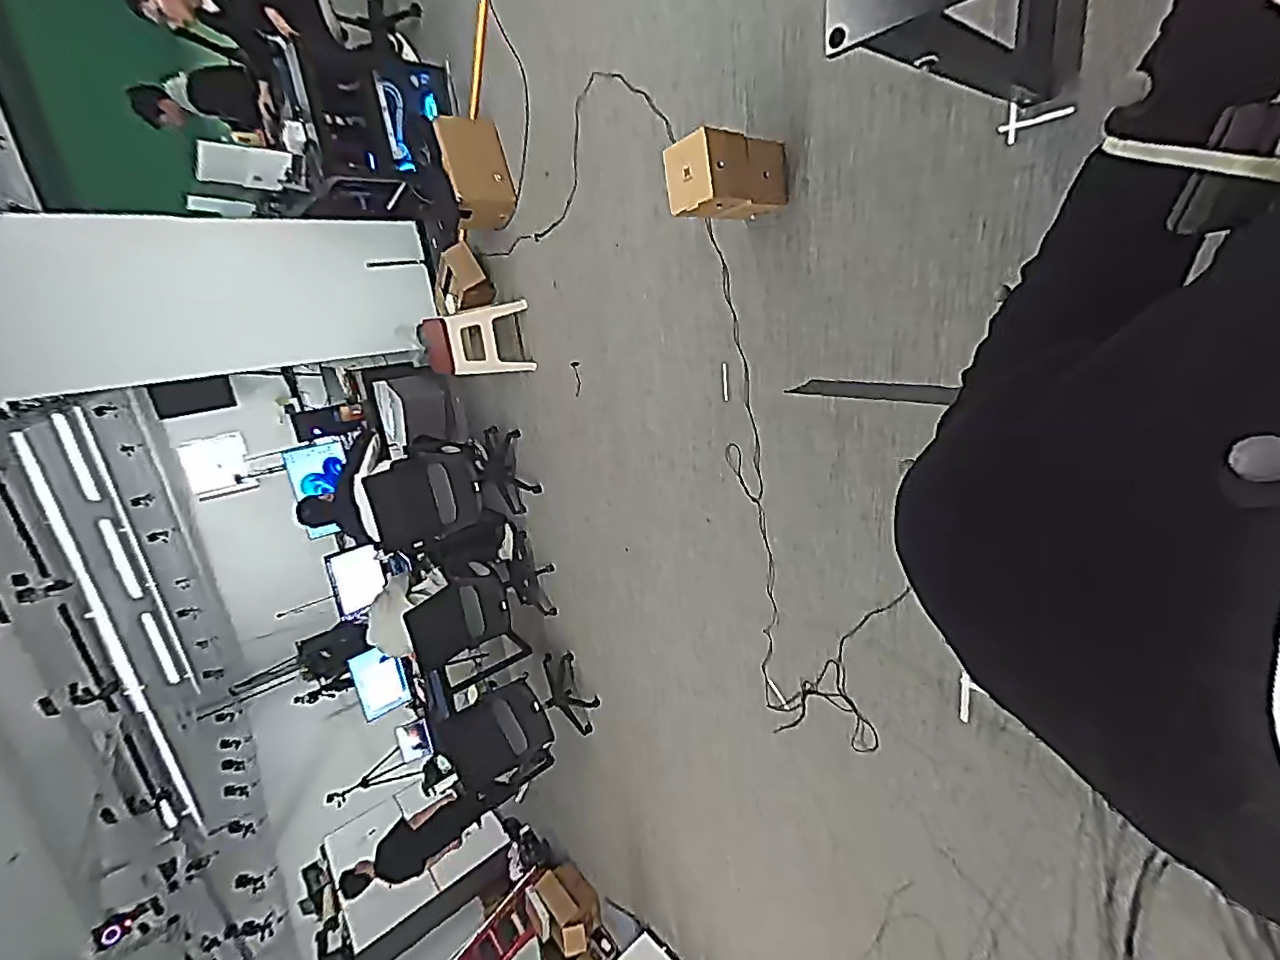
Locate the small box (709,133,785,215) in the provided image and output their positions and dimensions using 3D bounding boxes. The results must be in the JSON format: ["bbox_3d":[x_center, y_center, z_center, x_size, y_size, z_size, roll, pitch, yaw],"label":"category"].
[{"bbox_3d":[0.313,-0.904,1.613,0.168,0.176,0.179,11,115,50],"label":"small box"}]

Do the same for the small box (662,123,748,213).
[{"bbox_3d":[0.188,-0.866,1.517,0.168,0.176,0.179,6,110,50],"label":"small box"}]
